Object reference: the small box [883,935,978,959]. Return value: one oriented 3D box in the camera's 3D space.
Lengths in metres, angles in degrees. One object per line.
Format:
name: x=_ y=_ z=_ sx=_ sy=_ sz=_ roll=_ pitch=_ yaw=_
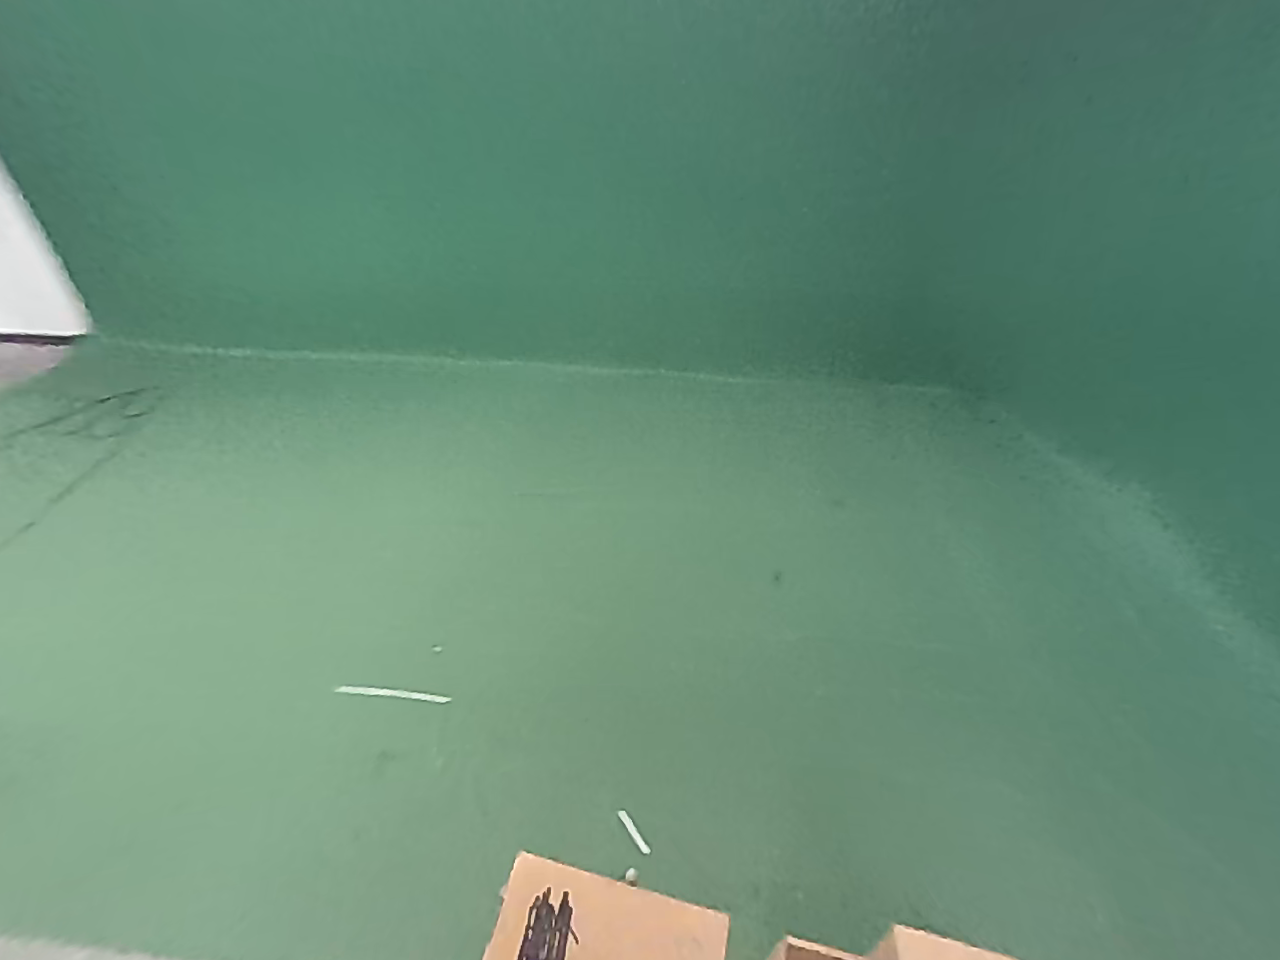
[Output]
small box: x=0.439 y=0.788 z=0.757 sx=0.179 sy=0.176 sz=0.168 roll=9 pitch=37 yaw=13
